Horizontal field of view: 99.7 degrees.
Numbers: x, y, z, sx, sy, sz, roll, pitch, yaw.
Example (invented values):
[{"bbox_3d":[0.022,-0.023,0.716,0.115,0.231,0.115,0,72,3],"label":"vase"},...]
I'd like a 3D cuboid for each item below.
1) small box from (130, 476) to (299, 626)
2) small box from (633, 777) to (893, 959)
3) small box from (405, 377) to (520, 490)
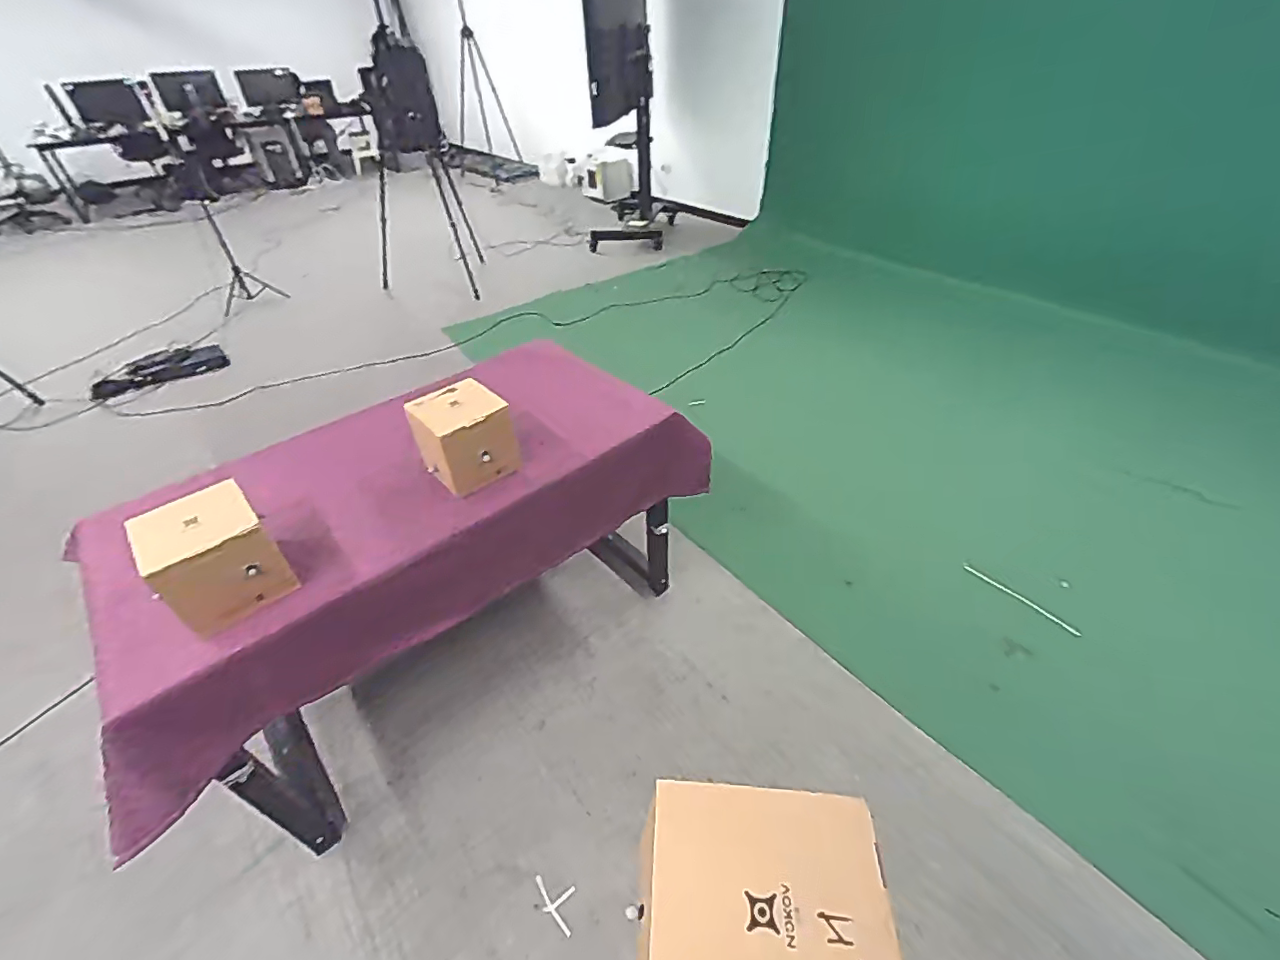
[{"bbox_3d":[-0.739,0.129,0.952,0.168,0.176,0.179,-31,48,-31],"label":"small box"},{"bbox_3d":[0.084,0.365,0.441,0.179,0.176,0.168,5,44,0],"label":"small box"},{"bbox_3d":[-0.388,-0.099,1.205,0.168,0.176,0.179,-31,49,-30],"label":"small box"}]
